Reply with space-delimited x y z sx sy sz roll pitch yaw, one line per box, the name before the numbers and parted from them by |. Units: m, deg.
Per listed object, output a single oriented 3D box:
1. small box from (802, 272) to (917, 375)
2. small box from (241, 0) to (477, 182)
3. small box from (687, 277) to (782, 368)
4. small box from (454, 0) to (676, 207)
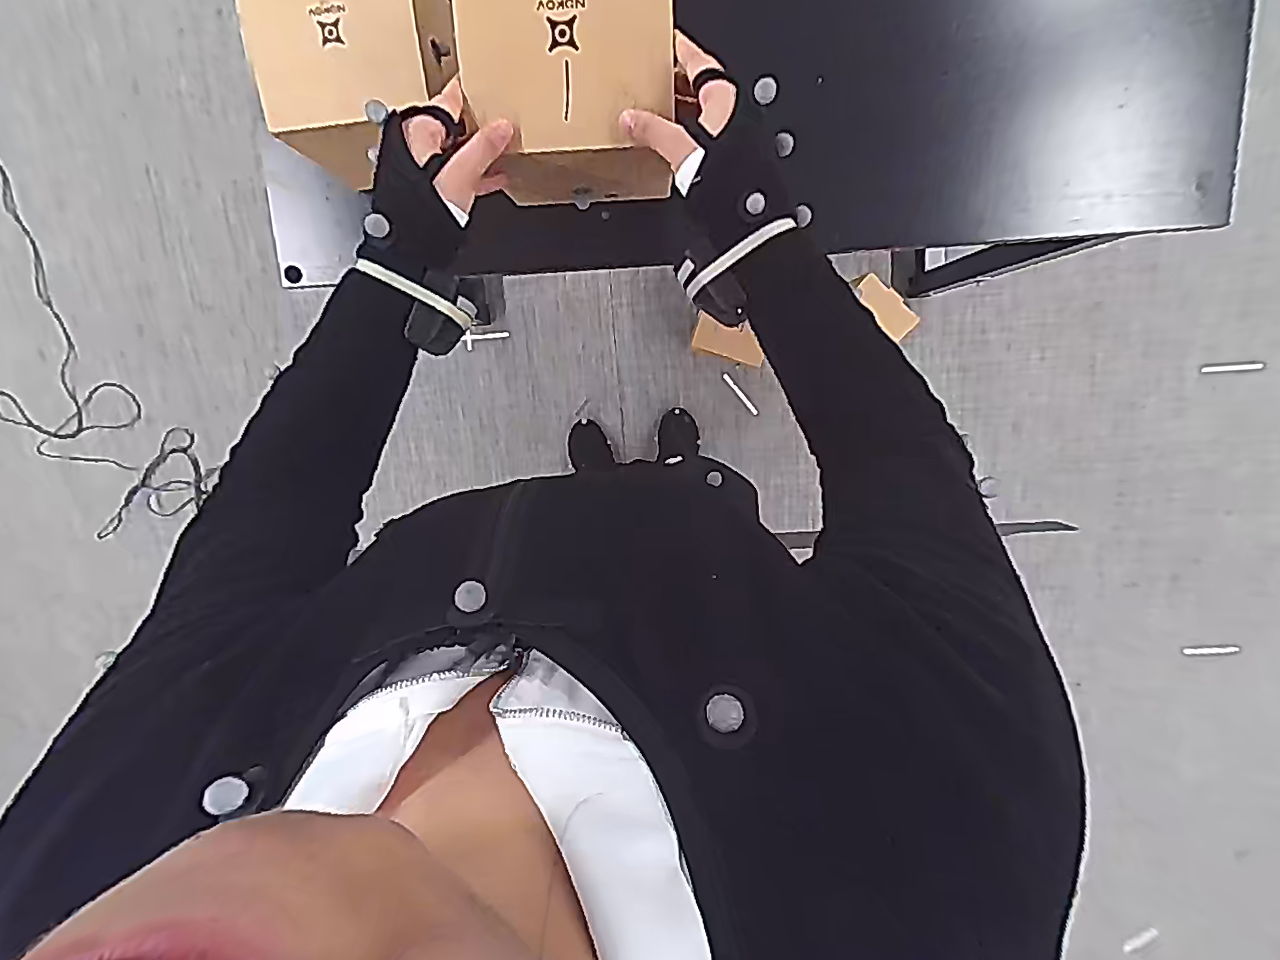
small box | 0.528 -0.377 1.331 0.168 0.176 0.179 40 99 -6
small box | -0.291 -0.447 0.592 0.168 0.176 0.179 -6 100 1
small box | 0.225 -0.383 1.339 0.179 0.176 0.168 17 100 -1
small box | -0.055 -0.359 0.479 0.168 0.176 0.179 -2 106 2
